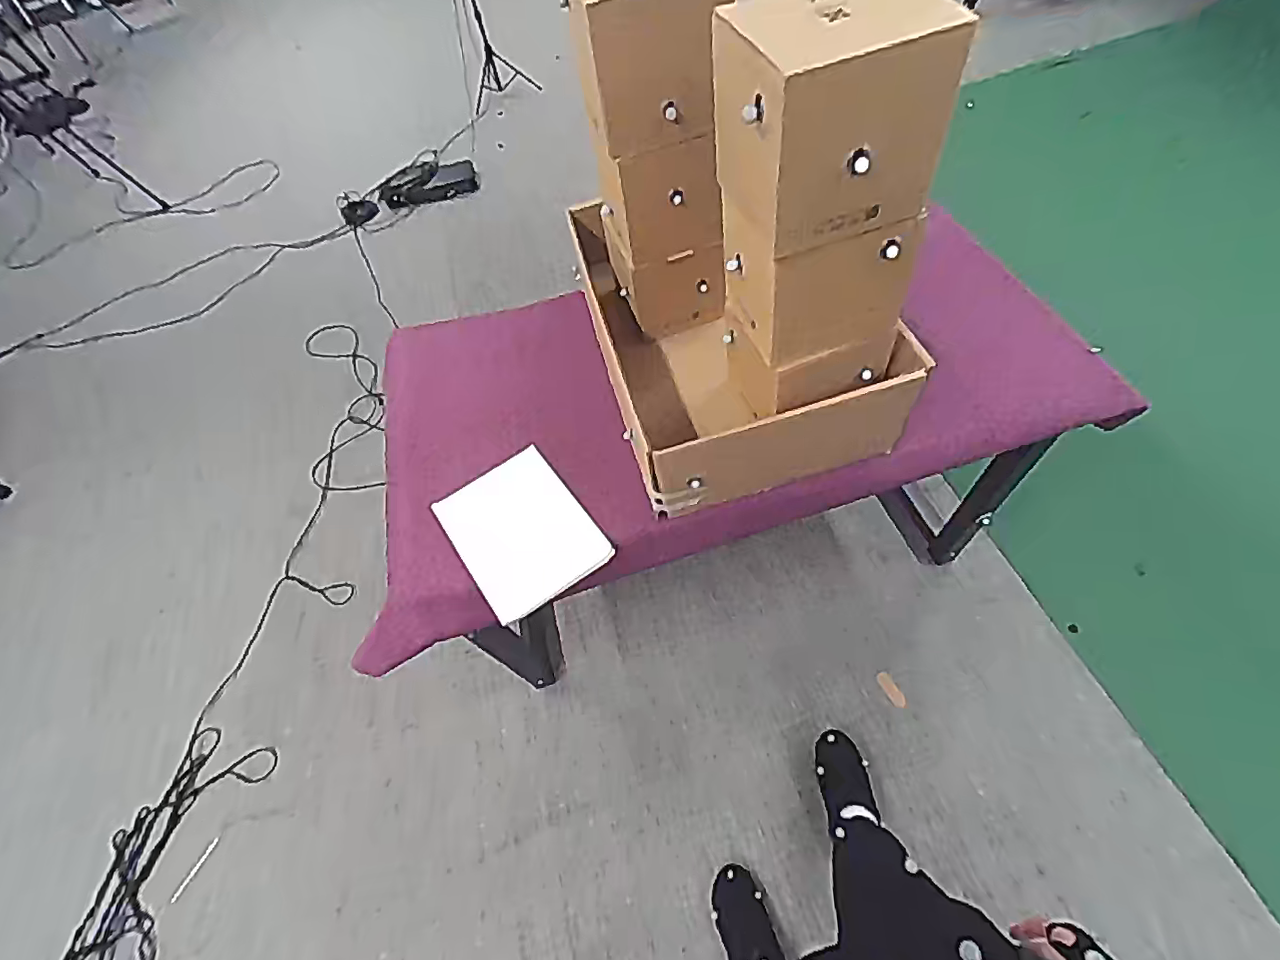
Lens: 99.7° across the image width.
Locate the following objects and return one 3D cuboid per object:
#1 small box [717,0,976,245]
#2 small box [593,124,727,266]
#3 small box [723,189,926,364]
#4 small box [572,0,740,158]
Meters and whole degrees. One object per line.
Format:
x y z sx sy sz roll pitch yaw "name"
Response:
0.185 -0.361 0.543 0.168 0.176 0.179 -17 55 -2 "small box"
0.039 -0.466 0.836 0.179 0.176 0.168 -19 58 -3 "small box"
0.215 -0.272 0.679 0.179 0.176 0.168 -16 55 -2 "small box"
0.016 -0.554 0.700 0.179 0.176 0.168 -16 57 -3 "small box"
